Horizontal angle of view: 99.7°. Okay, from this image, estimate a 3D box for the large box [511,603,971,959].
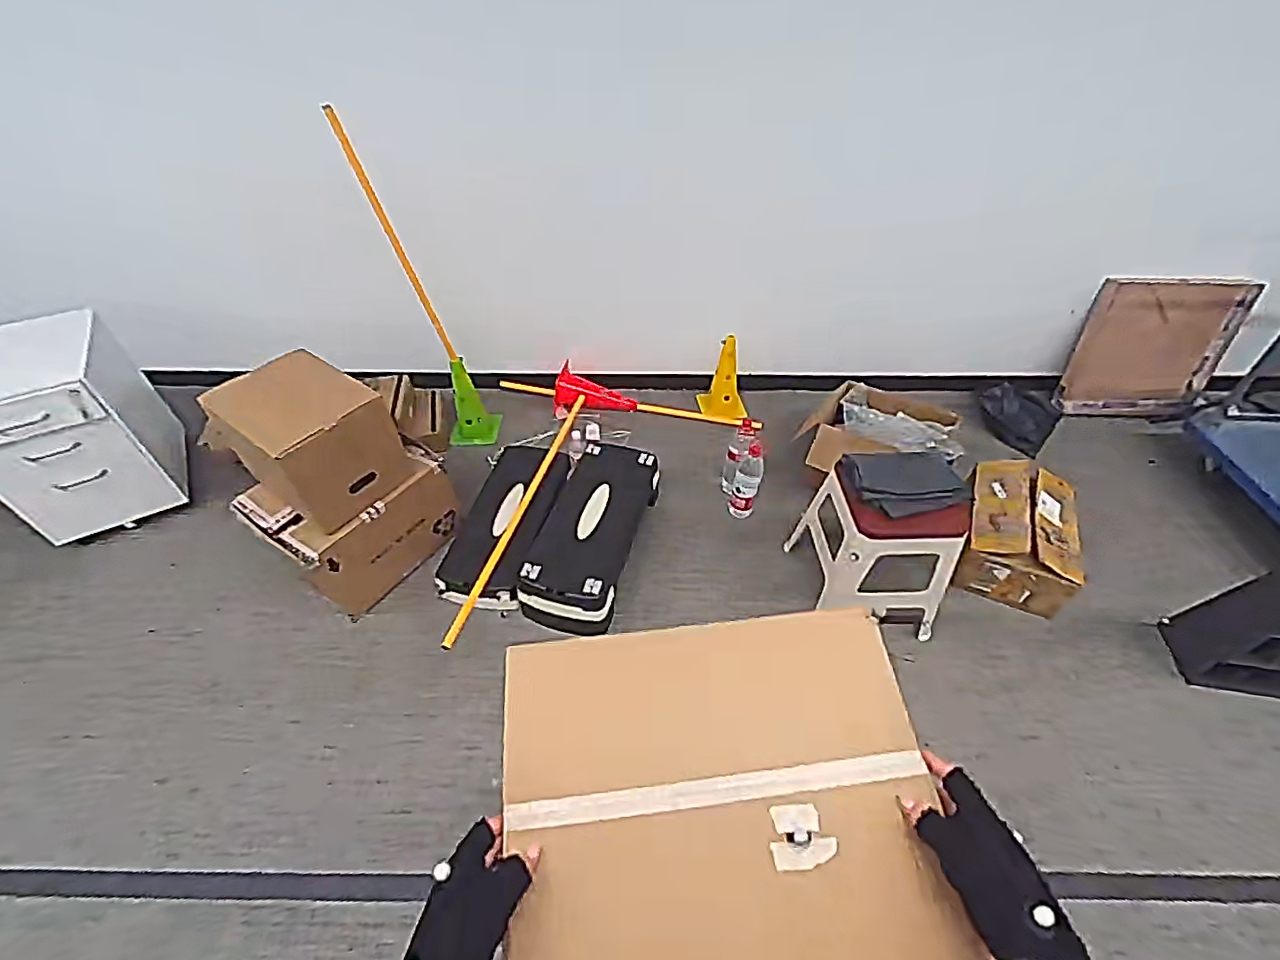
[{"bbox_3d":[0.074,0.371,0.658,0.408,0.320,0.320,-6,60,-3],"label":"large box"}]
